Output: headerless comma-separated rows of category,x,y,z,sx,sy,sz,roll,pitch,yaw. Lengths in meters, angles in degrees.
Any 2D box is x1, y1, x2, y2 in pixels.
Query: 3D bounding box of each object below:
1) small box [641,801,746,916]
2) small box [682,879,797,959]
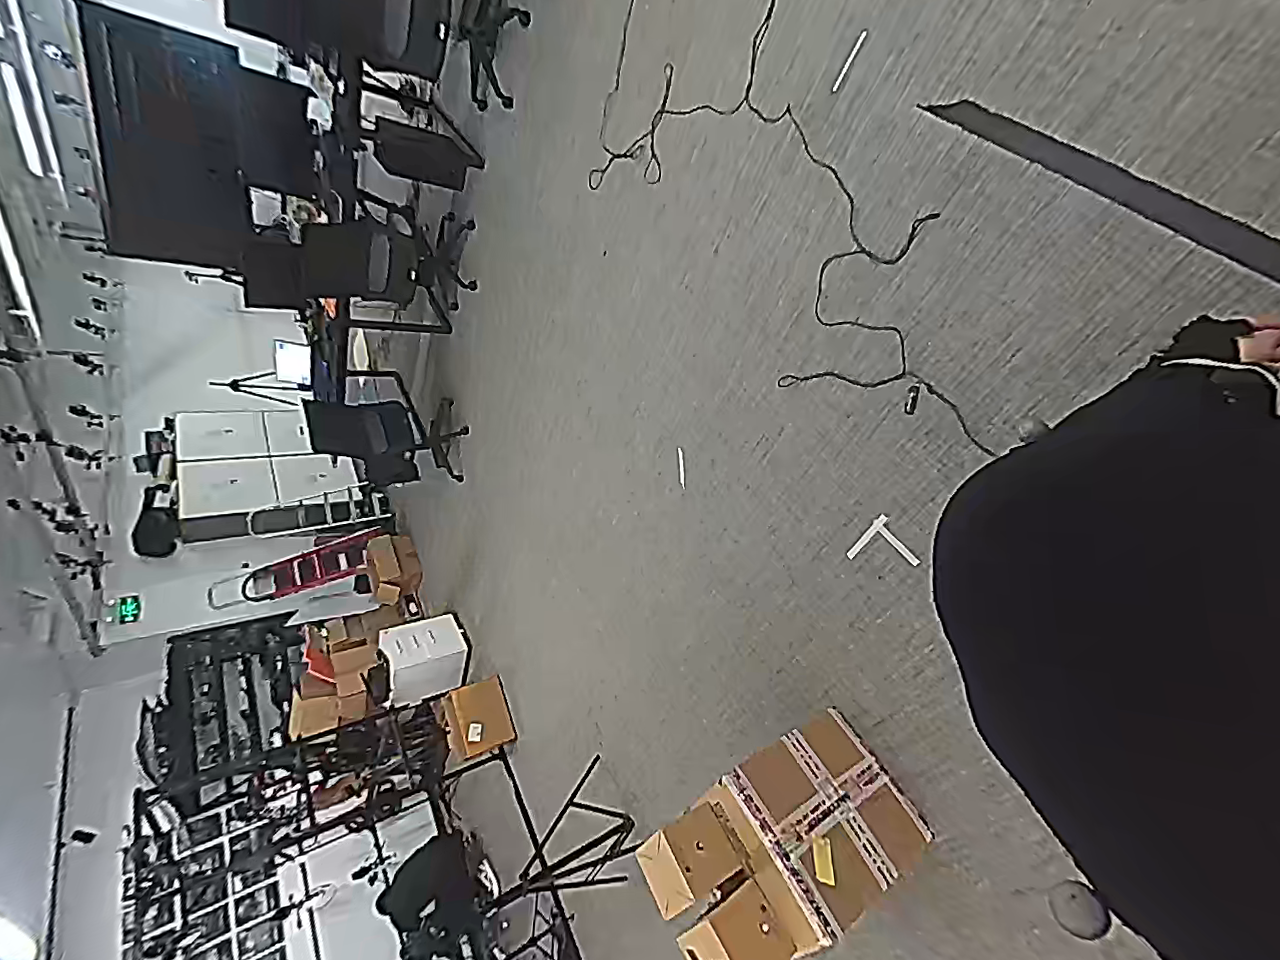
small box,0.131,0.971,1.387,0.168,0.176,0.179,56,134,35
small box,0.235,1.094,1.276,0.168,0.176,0.179,51,131,31
